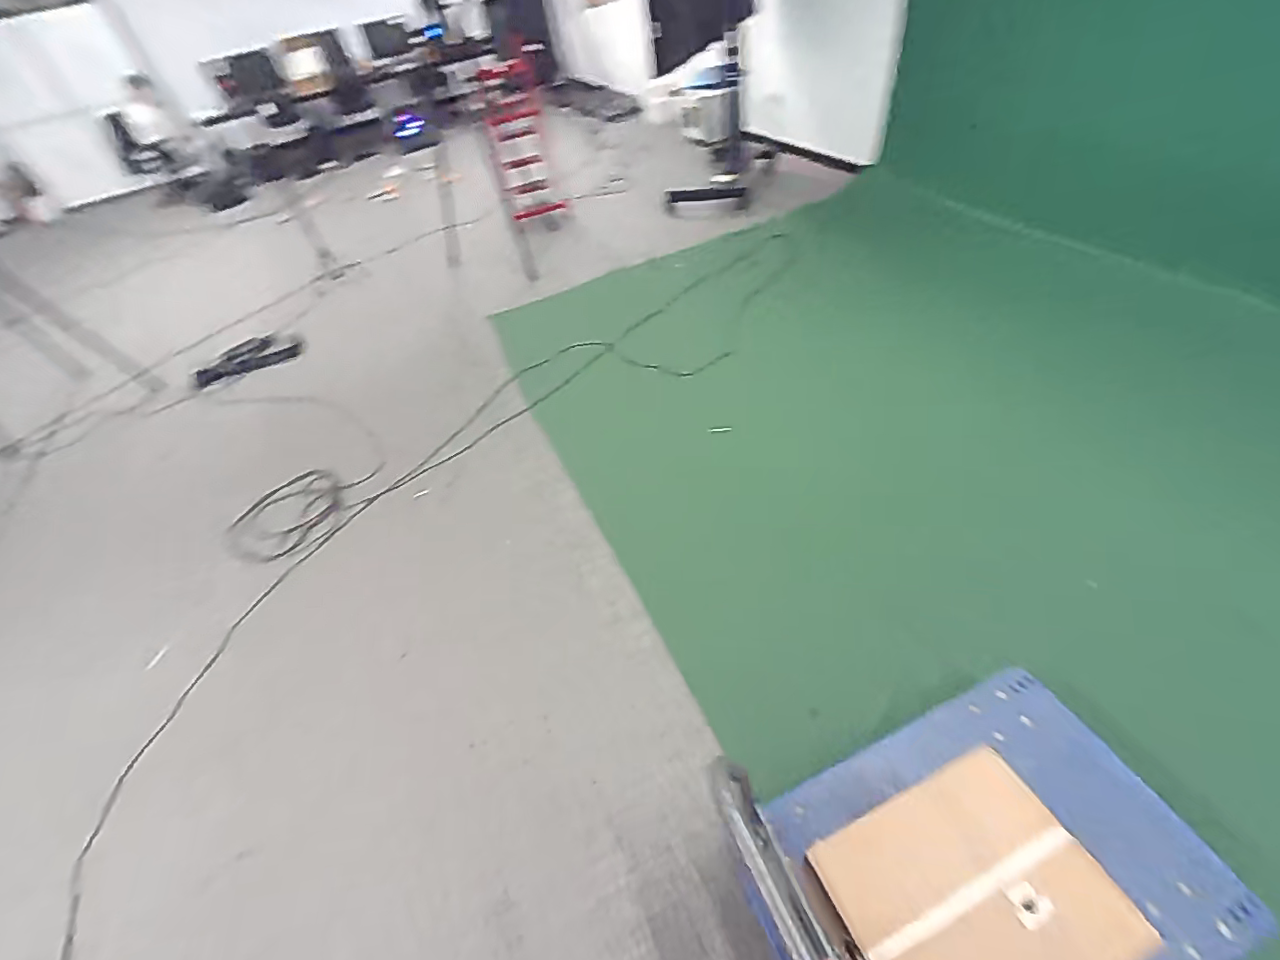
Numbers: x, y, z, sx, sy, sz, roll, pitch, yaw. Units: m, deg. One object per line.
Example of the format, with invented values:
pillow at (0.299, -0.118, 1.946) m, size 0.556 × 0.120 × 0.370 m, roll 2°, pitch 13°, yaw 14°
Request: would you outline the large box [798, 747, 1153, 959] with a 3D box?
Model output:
large box at (0.545, 0.767, 0.968) m, size 0.408 × 0.320 × 0.320 m, roll -22°, pitch 46°, yaw -11°
